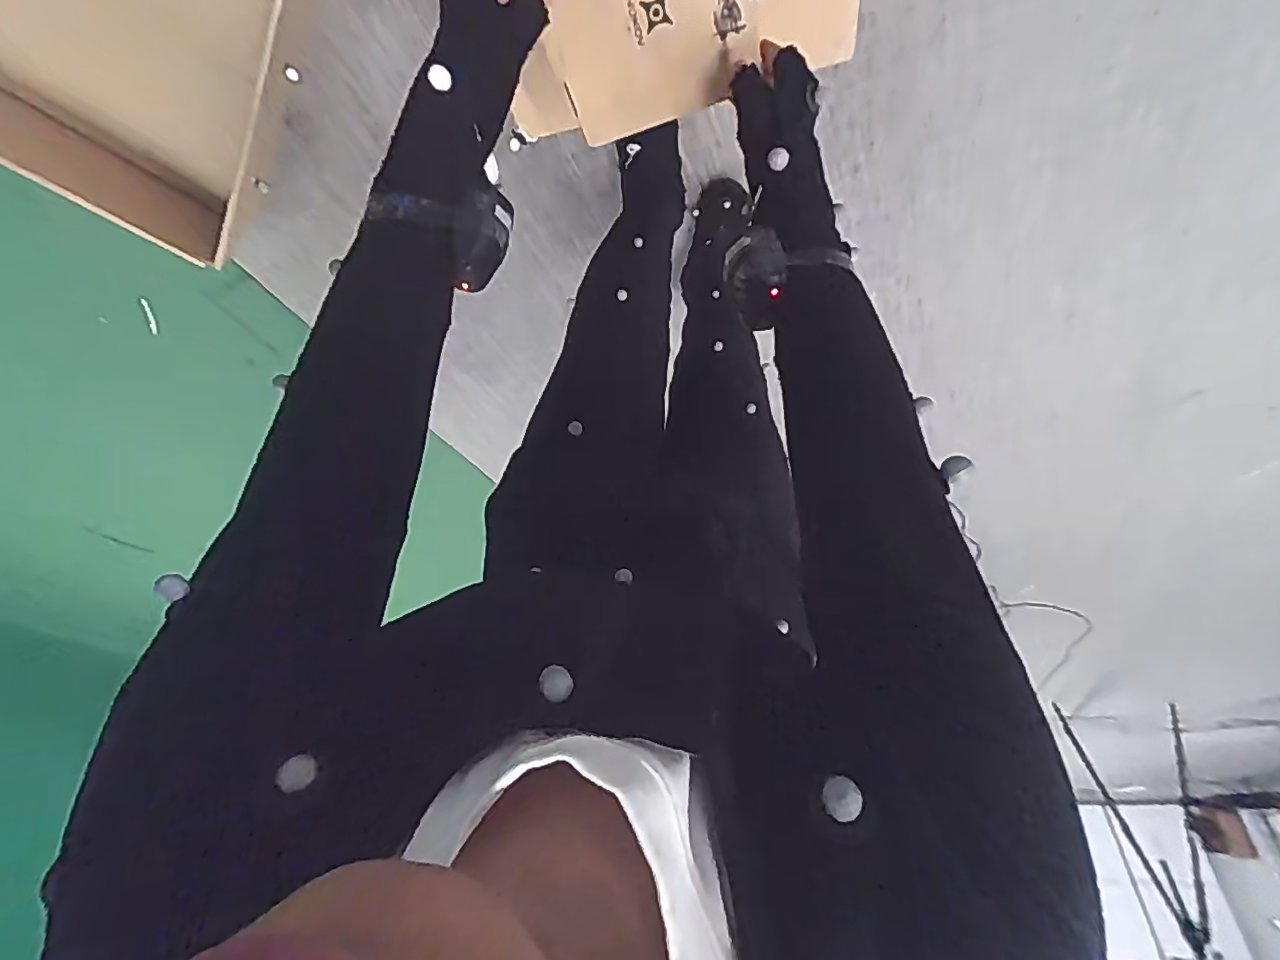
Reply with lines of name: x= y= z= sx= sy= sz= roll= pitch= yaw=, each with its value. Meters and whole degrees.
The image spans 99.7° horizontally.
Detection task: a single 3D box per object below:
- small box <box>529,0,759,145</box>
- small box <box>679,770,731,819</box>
small box: x=0.006 y=-0.453 z=0.497 sx=0.179 sy=0.176 sz=0.168 roll=-9 pitch=144 yaw=16
small box: x=0.269 y=1.317 z=2.261 sx=0.168 sy=0.176 sz=0.179 roll=-16 pitch=143 yaw=25
